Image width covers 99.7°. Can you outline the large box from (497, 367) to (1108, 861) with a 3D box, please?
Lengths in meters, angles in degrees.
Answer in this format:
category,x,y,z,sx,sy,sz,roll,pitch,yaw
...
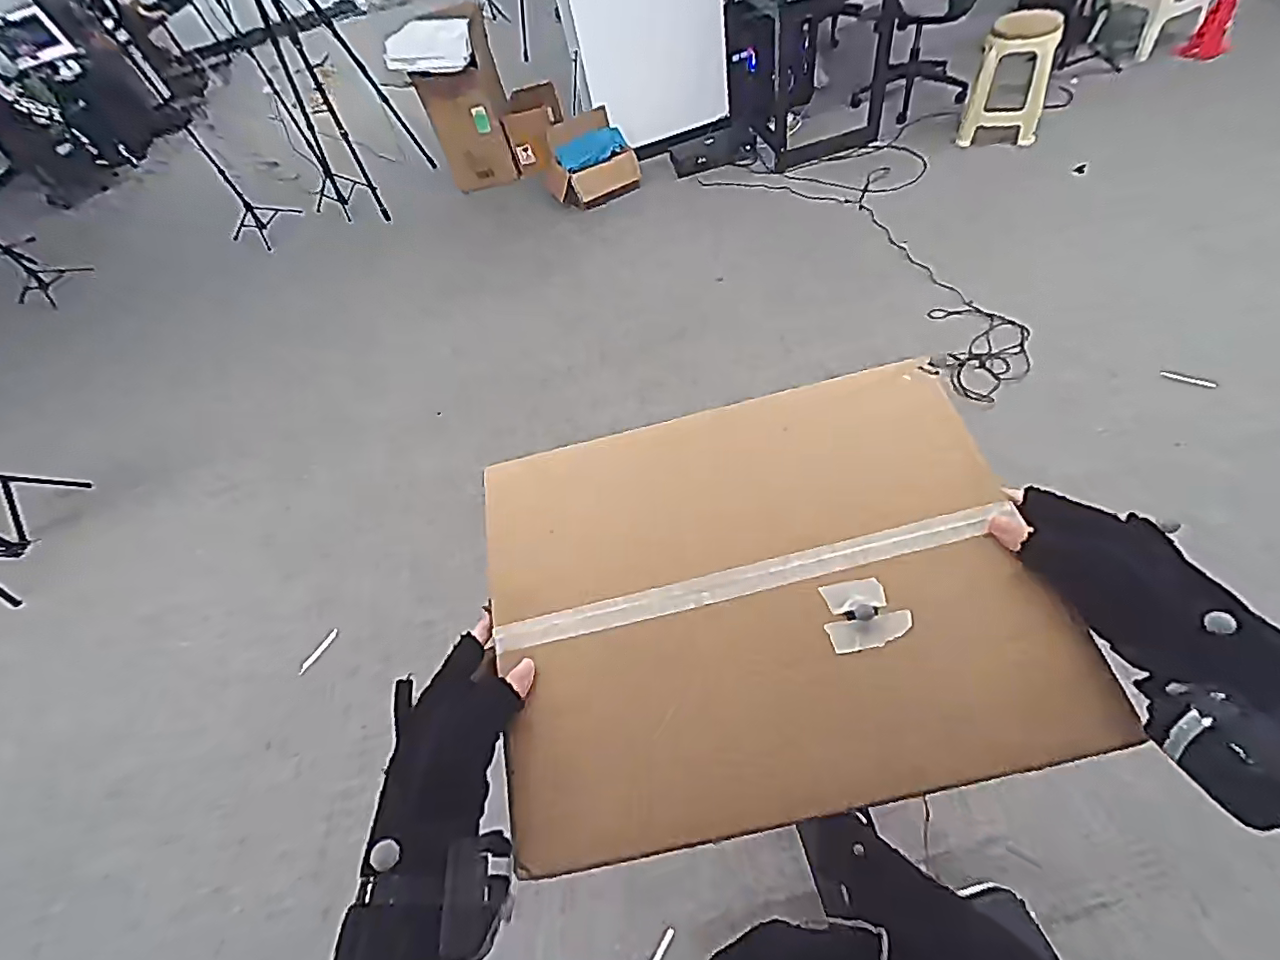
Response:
category,x,y,z,sx,sy,sz,roll,pitch,yaw
large box,0.108,0.144,0.561,0.408,0.320,0.320,-14,63,2
